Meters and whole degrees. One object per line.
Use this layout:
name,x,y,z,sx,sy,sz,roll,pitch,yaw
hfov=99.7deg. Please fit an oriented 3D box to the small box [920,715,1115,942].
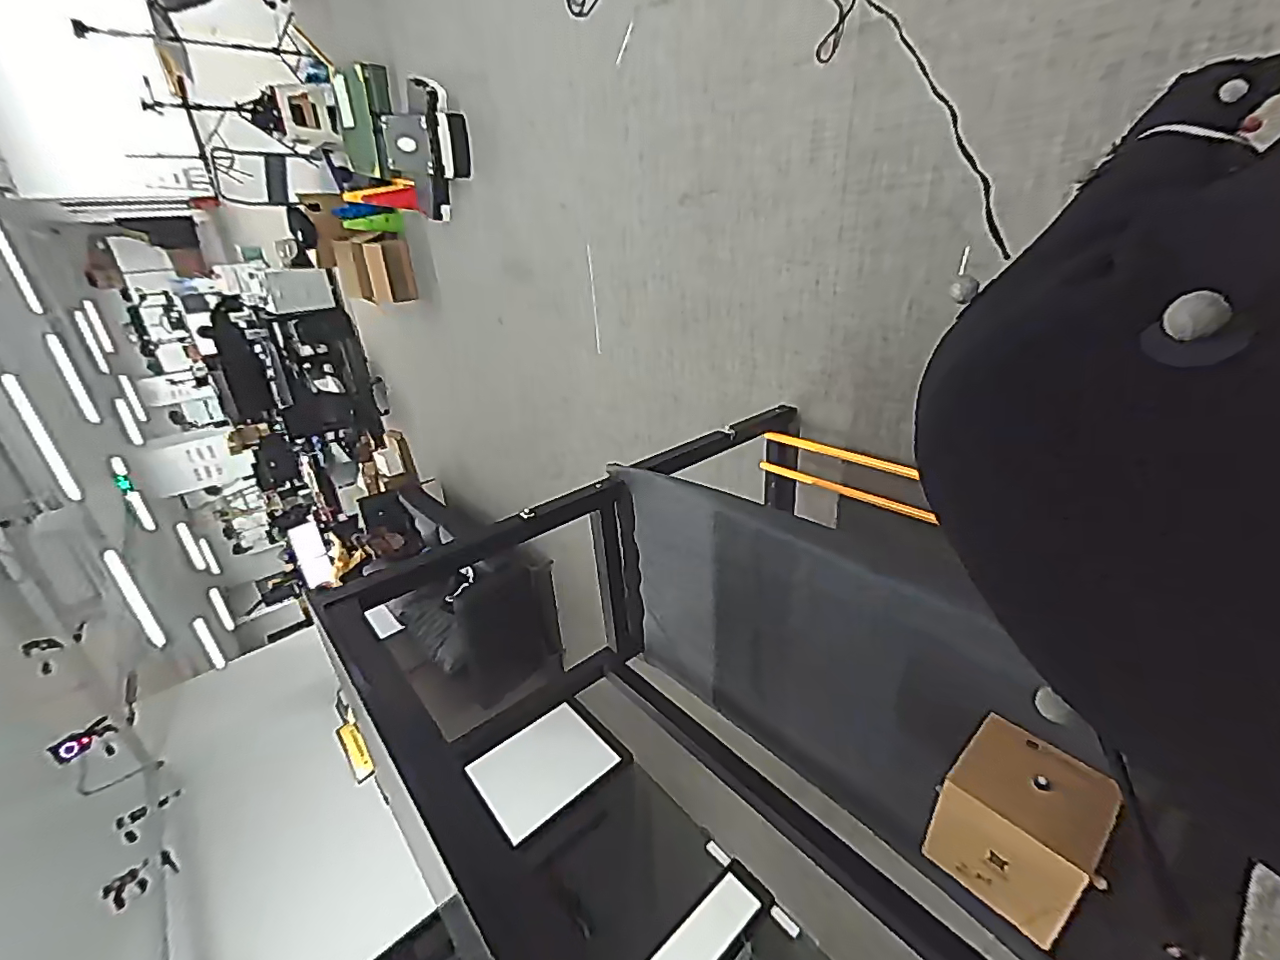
small box,0.533,0.477,0.767,0.168,0.176,0.179,27,129,44
